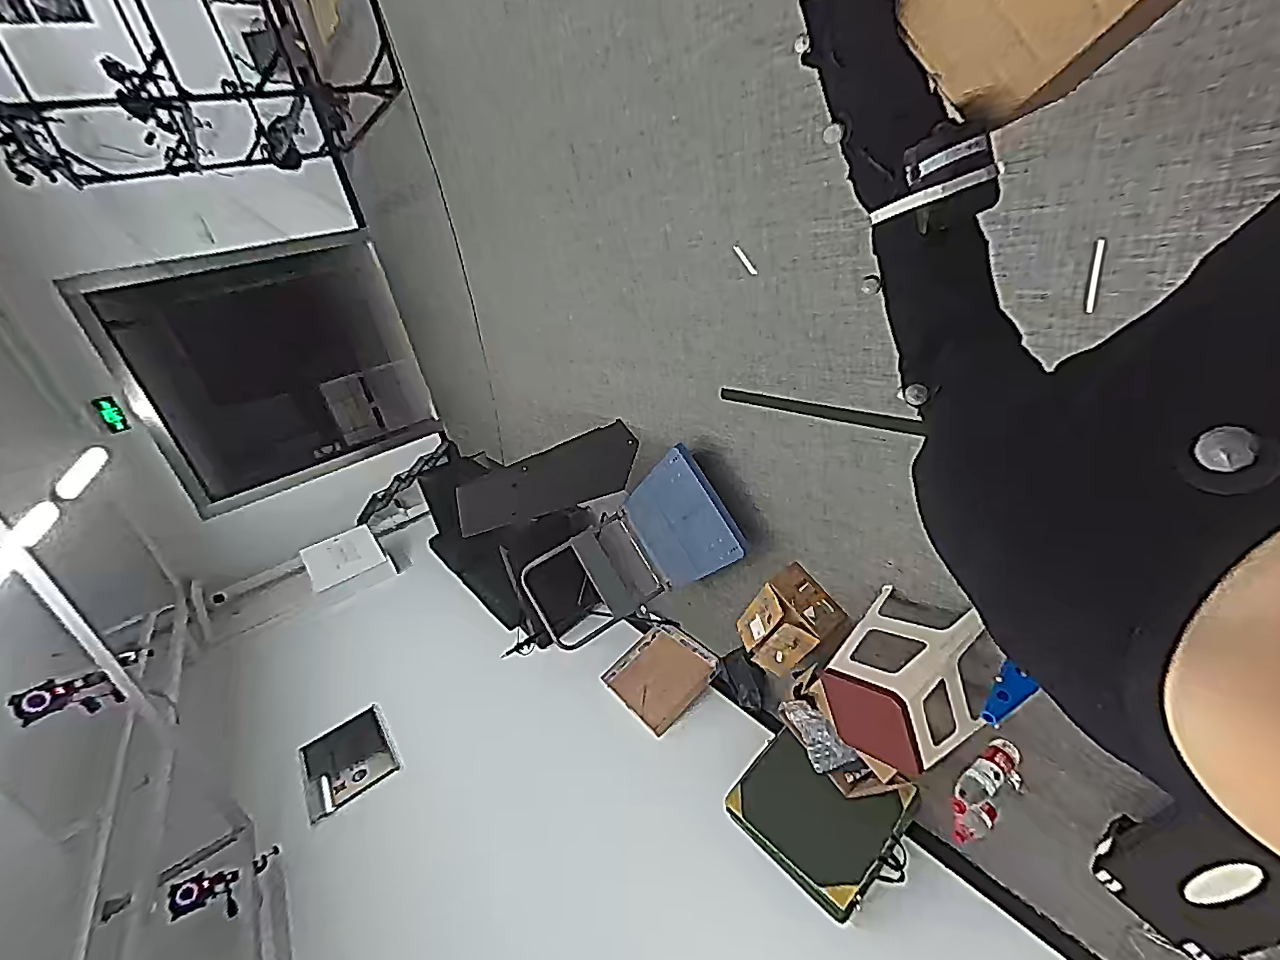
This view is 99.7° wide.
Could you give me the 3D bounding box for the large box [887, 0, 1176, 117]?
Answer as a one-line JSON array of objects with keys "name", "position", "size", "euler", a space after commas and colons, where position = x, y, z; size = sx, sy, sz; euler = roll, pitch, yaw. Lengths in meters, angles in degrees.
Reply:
[{"name": "large box", "position": [0.343, -0.521, 0.322], "size": [0.320, 0.320, 0.408], "euler": [52, 144, 0]}]
